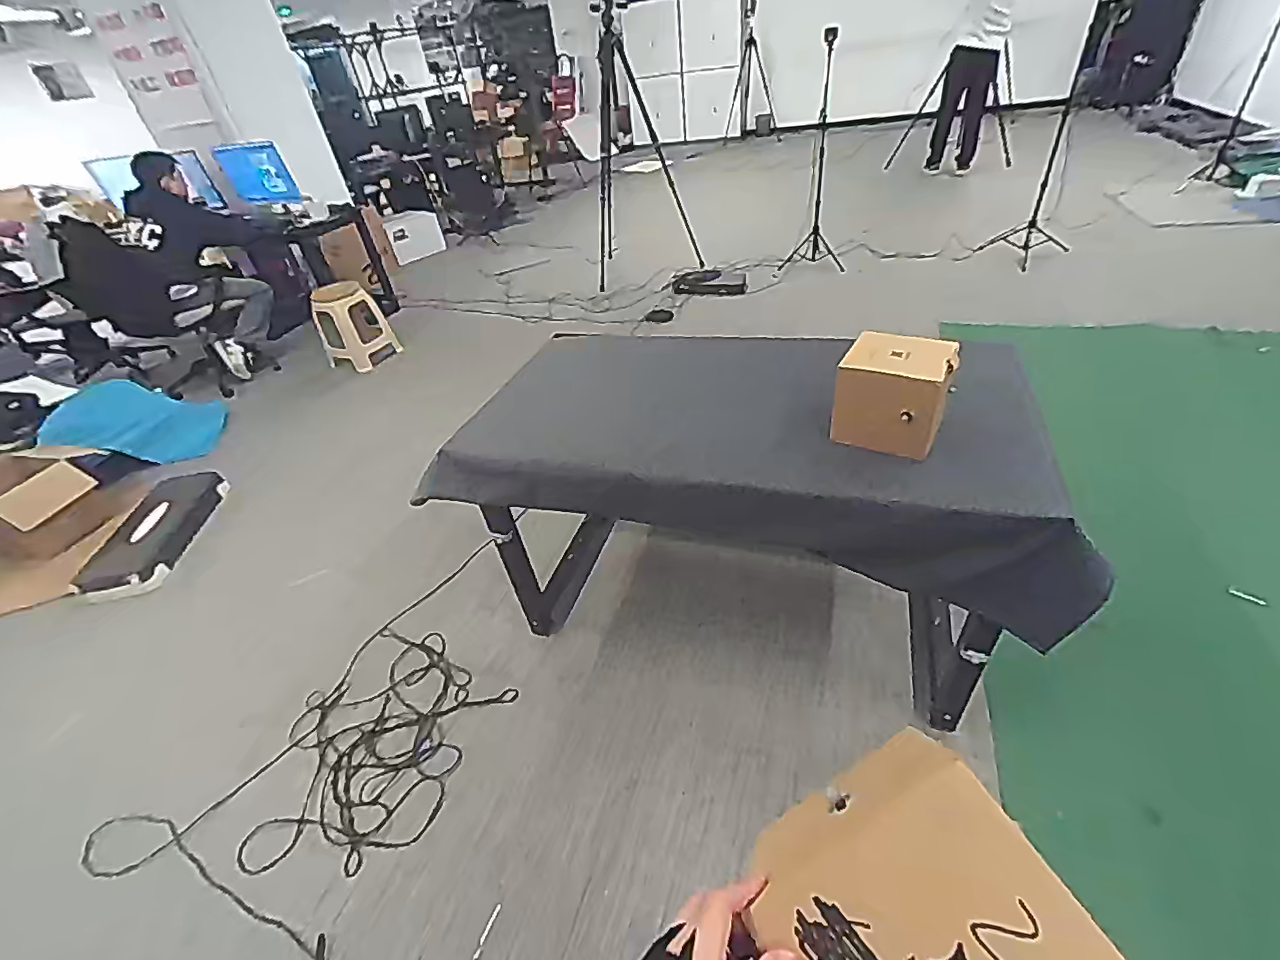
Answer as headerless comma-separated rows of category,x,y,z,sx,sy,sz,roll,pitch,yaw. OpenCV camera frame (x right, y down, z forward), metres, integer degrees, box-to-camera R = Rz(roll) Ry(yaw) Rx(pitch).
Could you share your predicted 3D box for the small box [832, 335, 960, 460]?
small box,0.485,-0.159,1.037,0.179,0.176,0.168,16,43,30
